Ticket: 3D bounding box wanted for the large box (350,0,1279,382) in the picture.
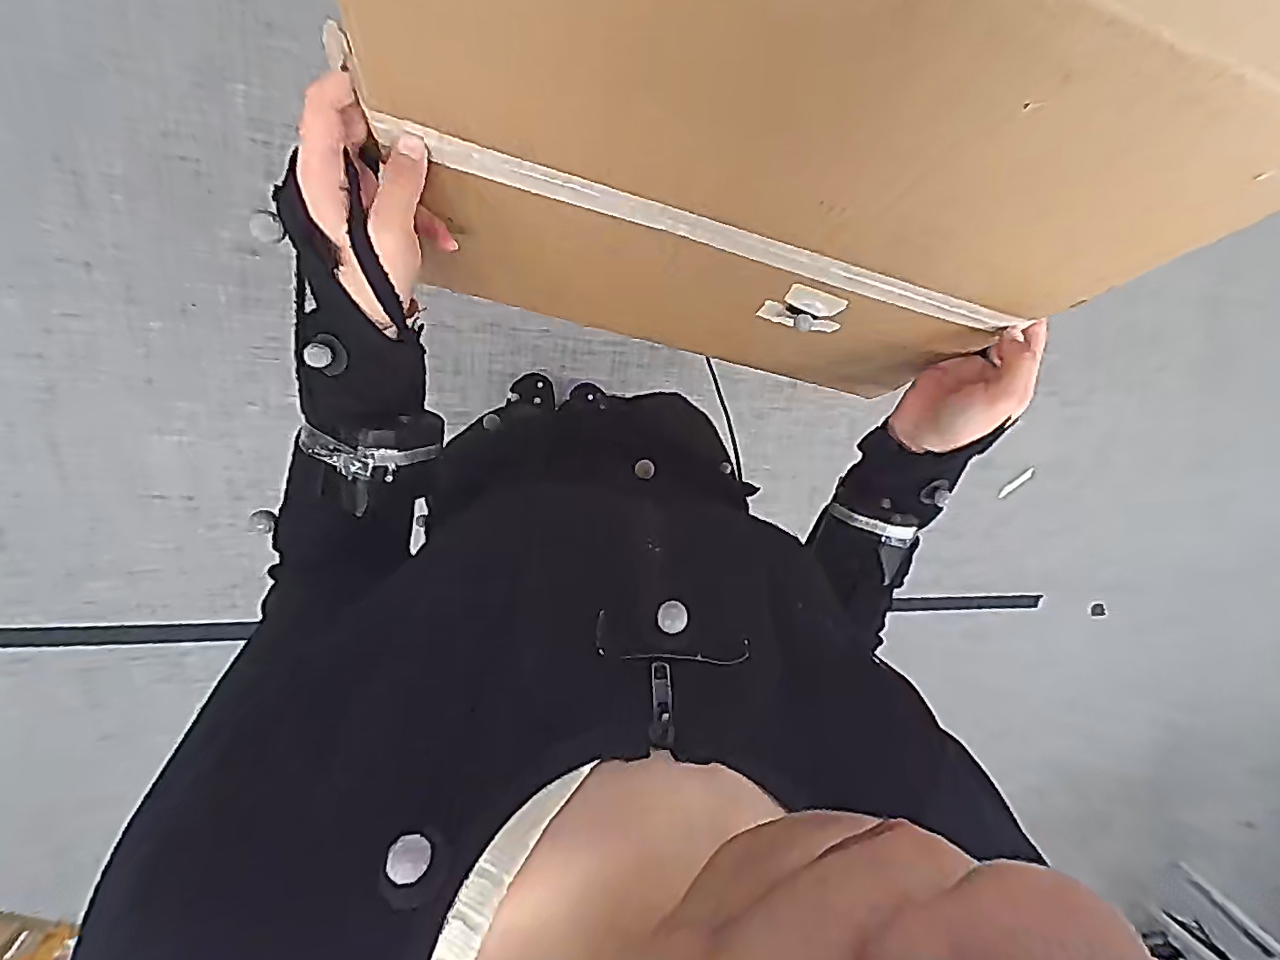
[{"bbox_3d":[0.075,-0.295,0.347,0.408,0.320,0.320,10,79,-13],"label":"large box"}]
